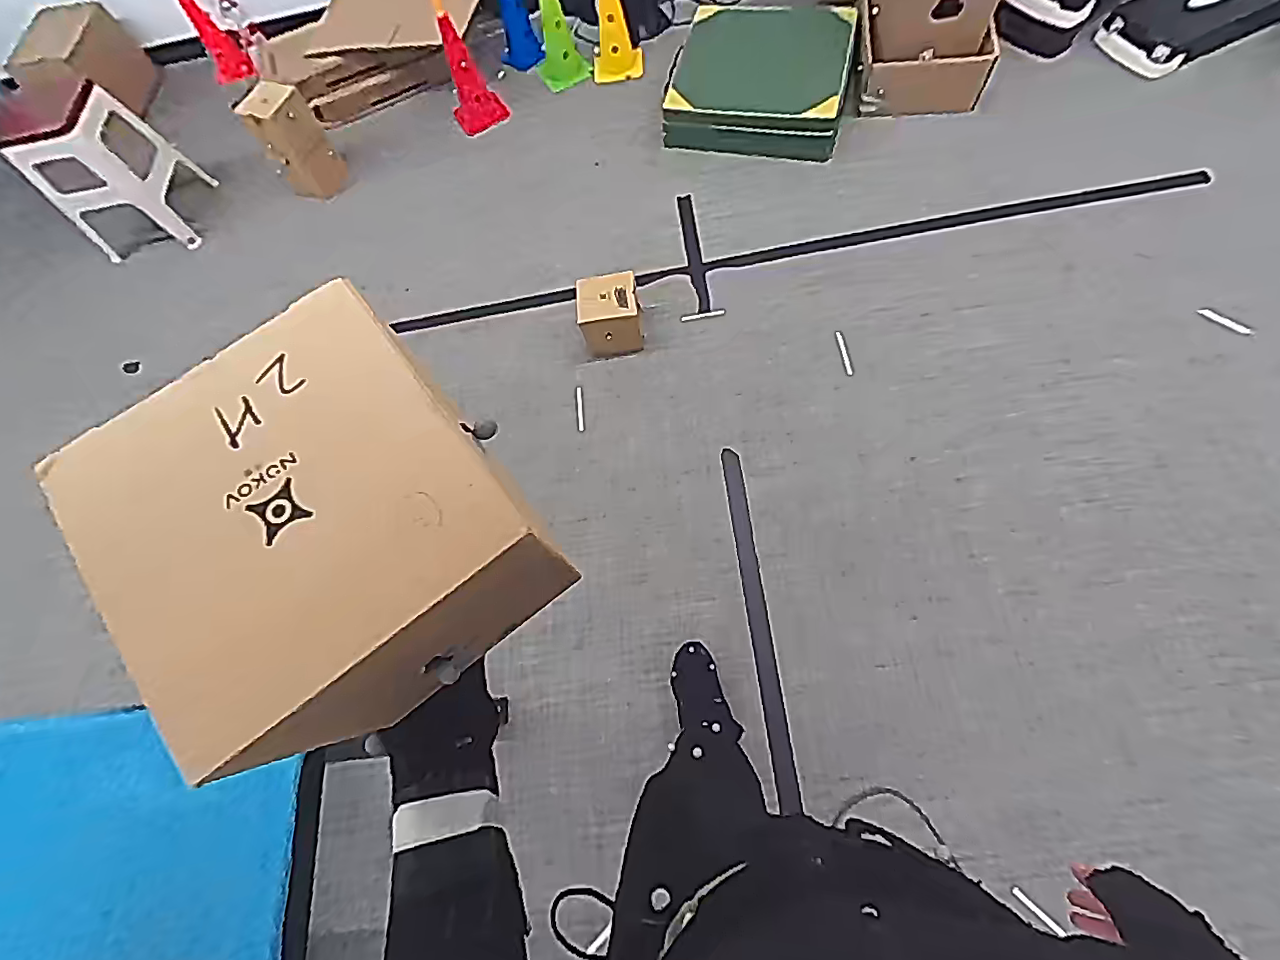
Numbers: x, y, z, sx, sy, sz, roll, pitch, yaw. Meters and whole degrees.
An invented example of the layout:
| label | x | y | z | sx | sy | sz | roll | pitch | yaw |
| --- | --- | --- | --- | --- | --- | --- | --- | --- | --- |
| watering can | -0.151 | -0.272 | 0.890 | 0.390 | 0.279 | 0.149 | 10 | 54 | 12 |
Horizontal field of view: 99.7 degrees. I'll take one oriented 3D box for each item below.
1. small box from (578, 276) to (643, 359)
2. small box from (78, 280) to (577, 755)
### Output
| label | x | y | z | sx | sy | sz | roll | pitch | yaw |
| --- | --- | --- | --- | --- | --- | --- | --- | --- | --- |
| small box | -0.086 | -0.494 | 1.660 | 0.179 | 0.176 | 0.168 | -7 | 67 | 6 |
| small box | -0.157 | 0.026 | 0.332 | 0.168 | 0.176 | 0.179 | -36 | 75 | -9 |
